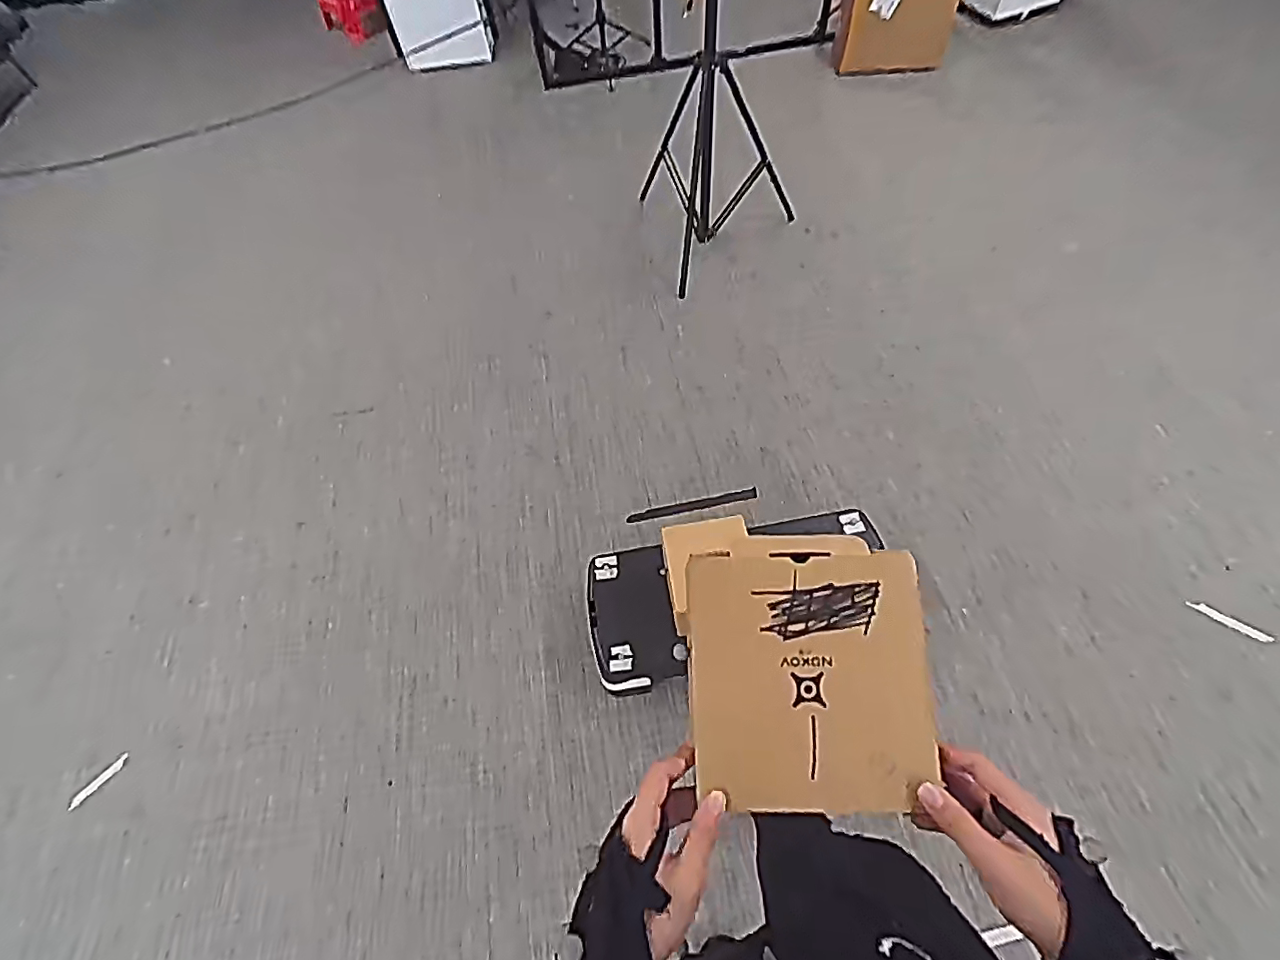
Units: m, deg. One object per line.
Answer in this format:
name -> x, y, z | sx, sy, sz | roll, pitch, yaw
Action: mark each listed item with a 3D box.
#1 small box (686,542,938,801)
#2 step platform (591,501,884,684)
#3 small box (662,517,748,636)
small box -> 0.125, 0.151, 0.465 | 0.168, 0.176, 0.179 | -1, 77, 4
step platform -> 0.229, 0.257, 1.255 | 0.684, 0.204, 0.286 | -11, 59, -1
small box -> 0.138, 0.199, 1.095 | 0.168, 0.176, 0.179 | -9, 59, 0
